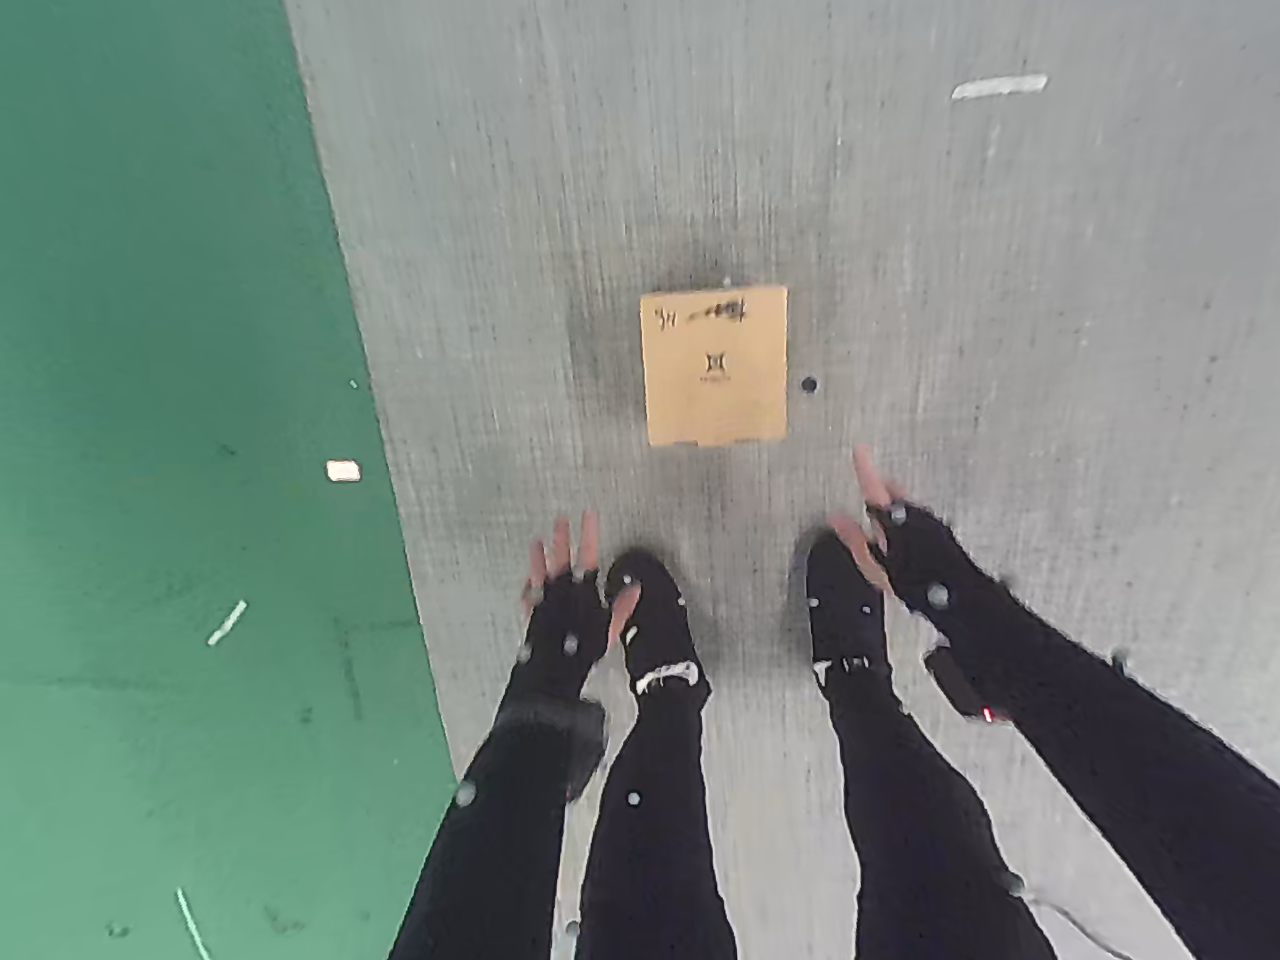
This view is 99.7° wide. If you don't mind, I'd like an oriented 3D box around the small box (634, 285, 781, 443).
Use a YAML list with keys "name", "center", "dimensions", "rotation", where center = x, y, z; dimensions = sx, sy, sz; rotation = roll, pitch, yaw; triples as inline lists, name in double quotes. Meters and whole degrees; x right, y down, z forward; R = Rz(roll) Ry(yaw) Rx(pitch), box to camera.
- name: "small box"
  center: [0.083, -0.154, 0.698]
  dimensions: [0.168, 0.176, 0.179]
  rotation: [-3, 107, 4]
